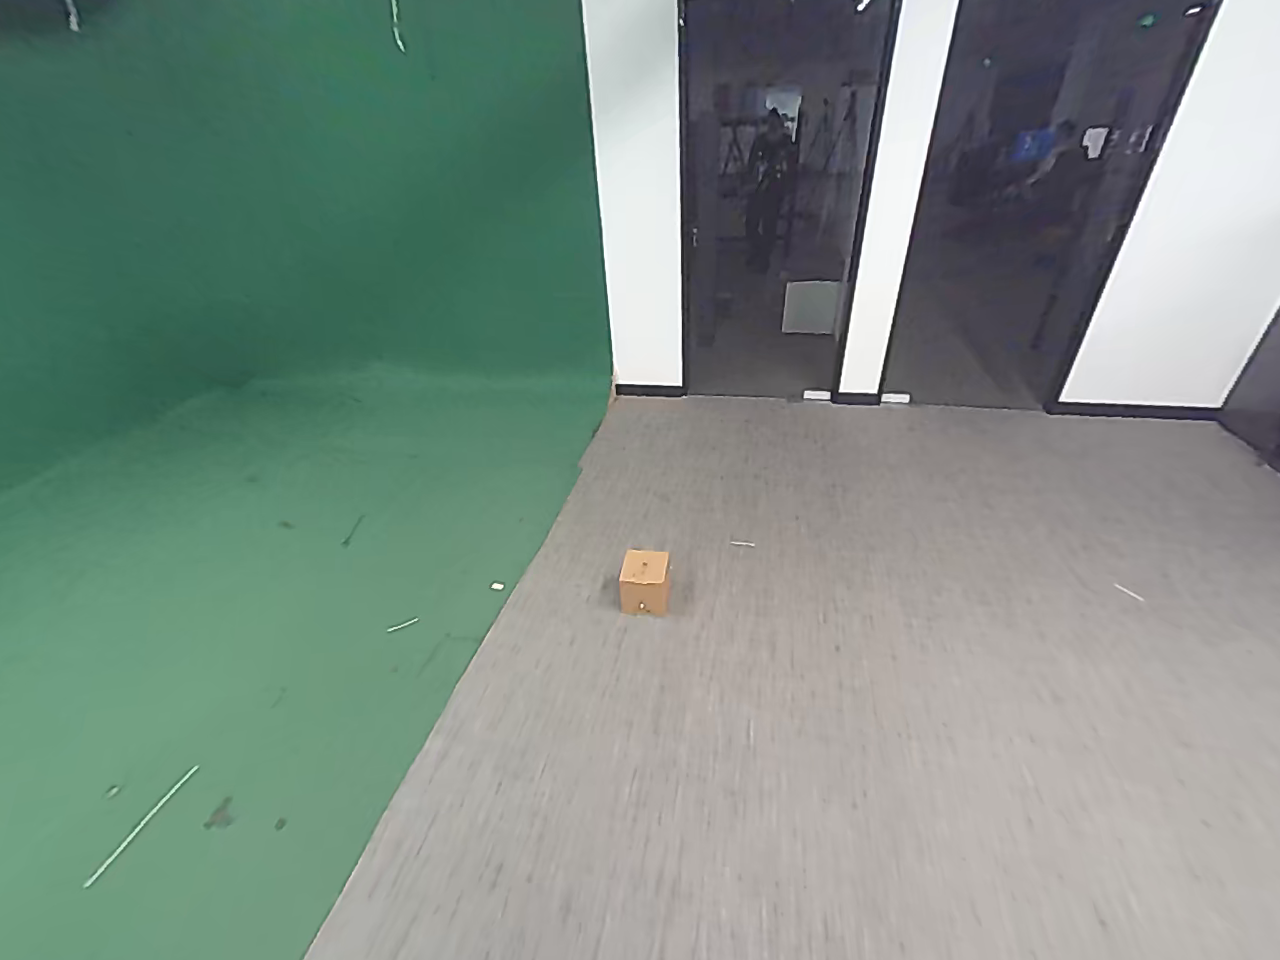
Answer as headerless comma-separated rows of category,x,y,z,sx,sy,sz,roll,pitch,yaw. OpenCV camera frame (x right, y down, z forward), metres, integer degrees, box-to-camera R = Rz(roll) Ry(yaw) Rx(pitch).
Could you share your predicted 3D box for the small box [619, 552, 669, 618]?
small box,0.018,0.394,2.042,0.168,0.176,0.179,2,33,9
